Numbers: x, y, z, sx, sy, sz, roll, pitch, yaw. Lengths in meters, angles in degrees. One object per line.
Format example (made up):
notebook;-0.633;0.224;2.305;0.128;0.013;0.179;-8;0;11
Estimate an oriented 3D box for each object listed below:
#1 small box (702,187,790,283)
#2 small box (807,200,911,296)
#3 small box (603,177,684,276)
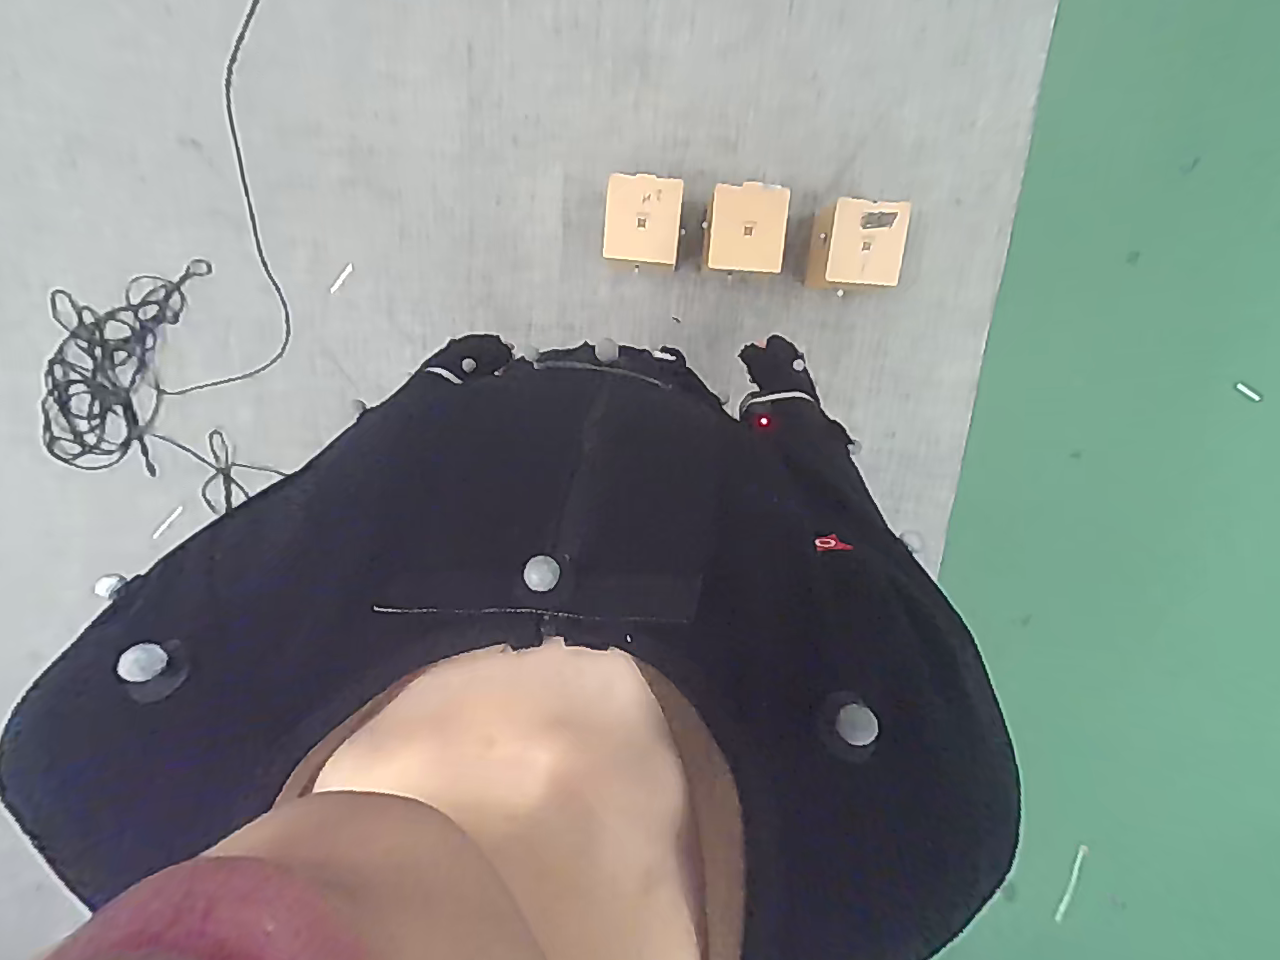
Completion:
small box;0.239;-0.562;1.264;0.168;0.176;0.179;3;103;0
small box;0.502;-0.536;1.266;0.168;0.176;0.179;4;104;0
small box;0.008;-0.580;1.261;0.168;0.176;0.179;5;104;-1
